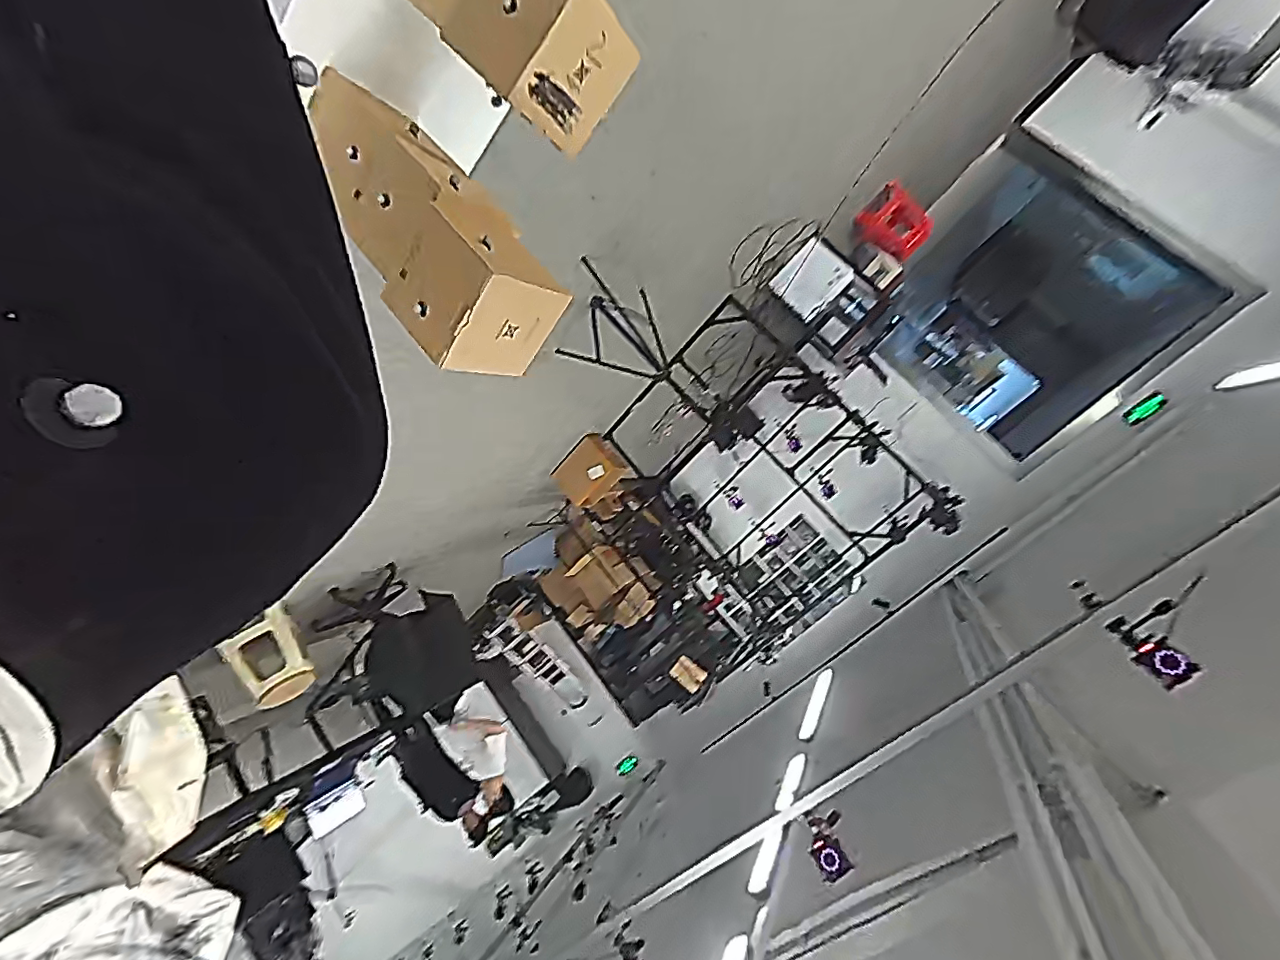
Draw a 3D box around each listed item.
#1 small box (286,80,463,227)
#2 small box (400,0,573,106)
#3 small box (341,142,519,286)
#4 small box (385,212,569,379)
[{"bbox_3d":[-0.447,-0.523,0.917,0.168,0.176,0.179,-49,164,21],"label":"small box"},{"bbox_3d":[-0.244,-0.736,0.825,0.168,0.176,0.179,-46,165,19],"label":"small box"},{"bbox_3d":[-0.341,-0.404,0.875,0.168,0.176,0.179,-47,164,21],"label":"small box"},{"bbox_3d":[-0.251,-0.276,0.827,0.168,0.176,0.179,-48,164,26],"label":"small box"}]
